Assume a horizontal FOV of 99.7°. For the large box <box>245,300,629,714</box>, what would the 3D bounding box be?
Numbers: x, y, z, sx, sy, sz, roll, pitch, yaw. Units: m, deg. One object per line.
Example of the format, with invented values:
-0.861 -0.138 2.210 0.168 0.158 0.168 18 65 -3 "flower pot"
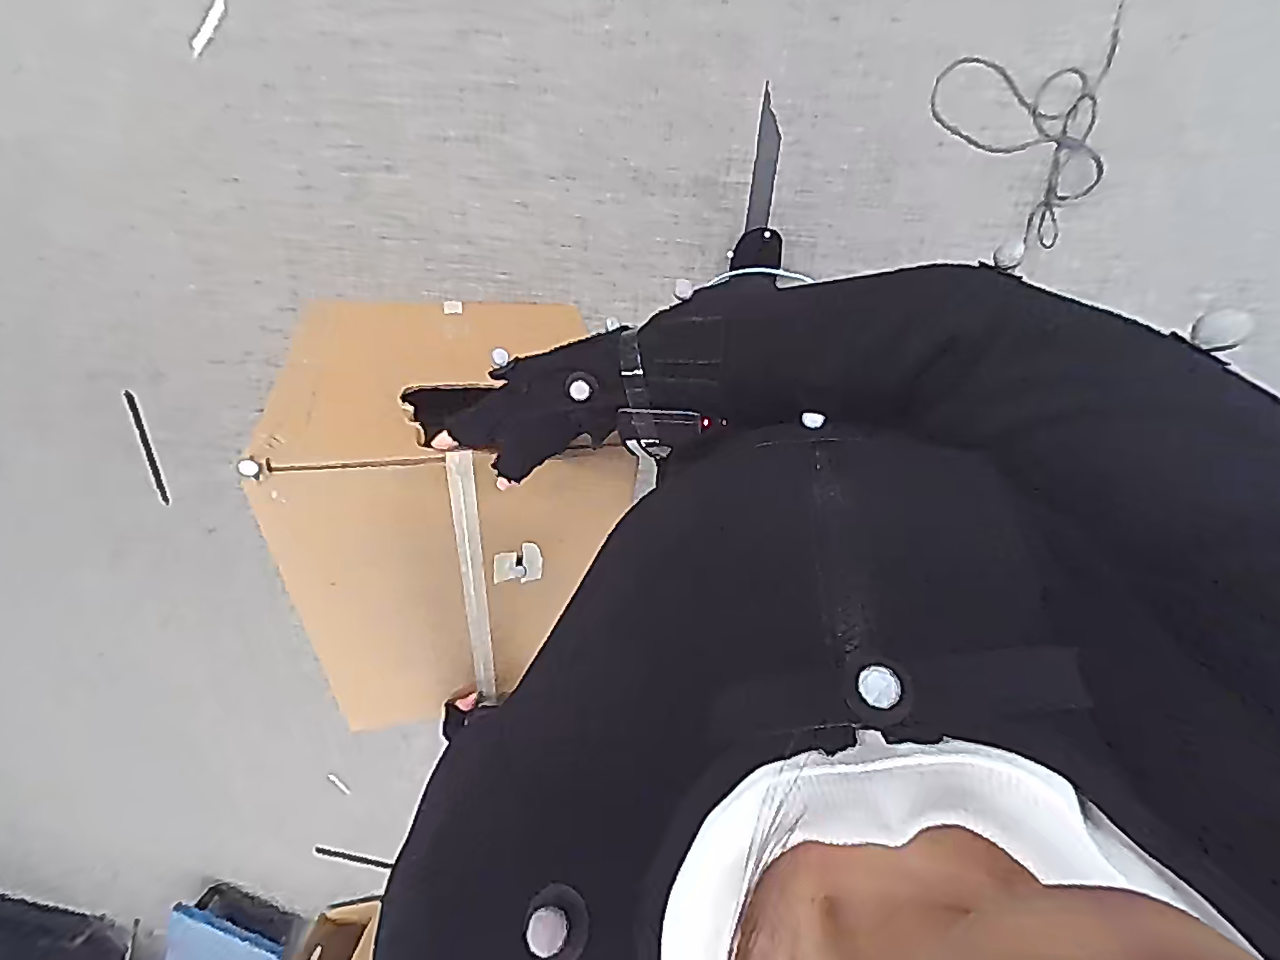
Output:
-0.212 0.024 0.681 0.320 0.320 0.408 -6 130 -17 "large box"
